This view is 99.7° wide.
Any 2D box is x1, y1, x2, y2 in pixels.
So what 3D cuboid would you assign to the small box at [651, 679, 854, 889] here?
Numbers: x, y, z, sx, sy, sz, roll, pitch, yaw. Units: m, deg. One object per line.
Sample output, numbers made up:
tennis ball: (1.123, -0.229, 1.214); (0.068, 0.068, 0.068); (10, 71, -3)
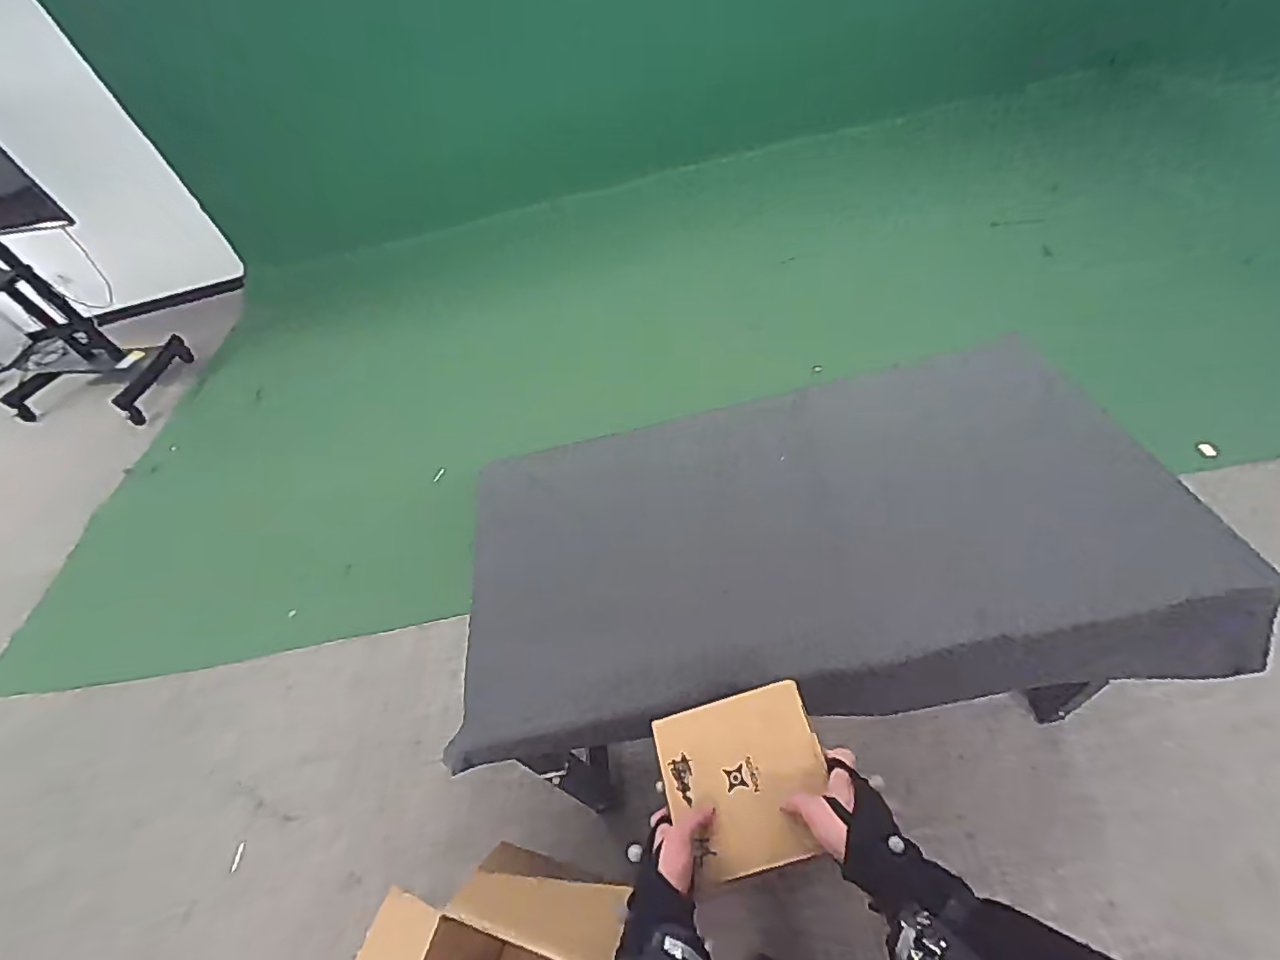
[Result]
small box: (0.128, 0.358, 0.635); (0.179, 0.176, 0.168); (-19, 50, 4)
